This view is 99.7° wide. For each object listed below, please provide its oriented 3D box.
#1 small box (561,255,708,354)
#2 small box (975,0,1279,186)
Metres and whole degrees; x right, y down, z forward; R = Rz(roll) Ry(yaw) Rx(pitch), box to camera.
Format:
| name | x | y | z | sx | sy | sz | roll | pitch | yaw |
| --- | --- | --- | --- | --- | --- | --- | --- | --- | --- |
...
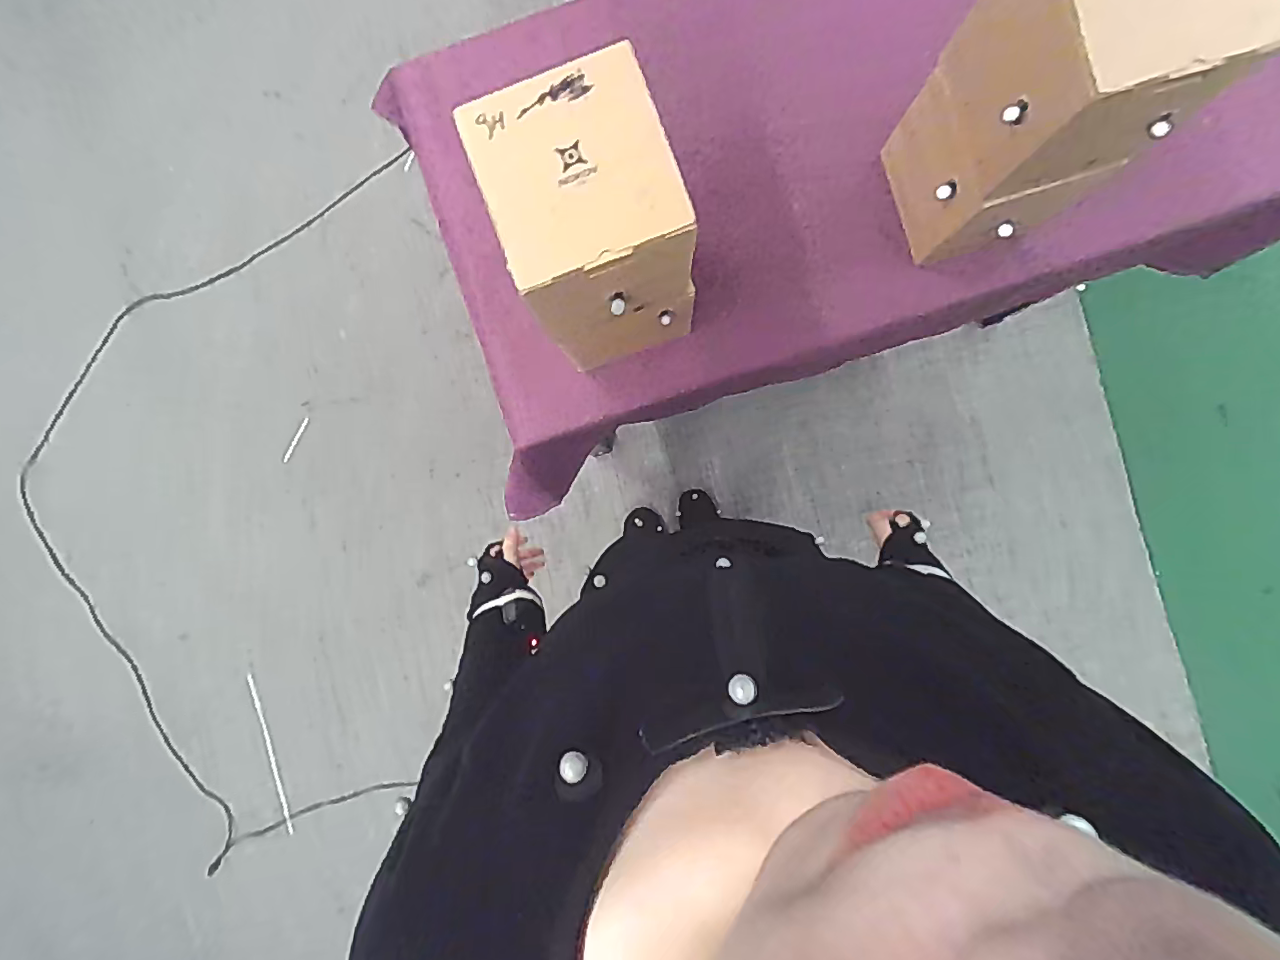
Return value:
| name | x | y | z | sx | sy | sz | roll | pitch | yaw |
| --- | --- | --- | --- | --- | --- | --- | --- | --- | --- |
| small box | -0.021 | -0.280 | 0.703 | 0.179 | 0.176 | 0.168 | -17 | 89 | 3 |
| small box | 0.455 | -0.408 | 0.508 | 0.168 | 0.176 | 0.179 | -12 | 89 | 3 |
